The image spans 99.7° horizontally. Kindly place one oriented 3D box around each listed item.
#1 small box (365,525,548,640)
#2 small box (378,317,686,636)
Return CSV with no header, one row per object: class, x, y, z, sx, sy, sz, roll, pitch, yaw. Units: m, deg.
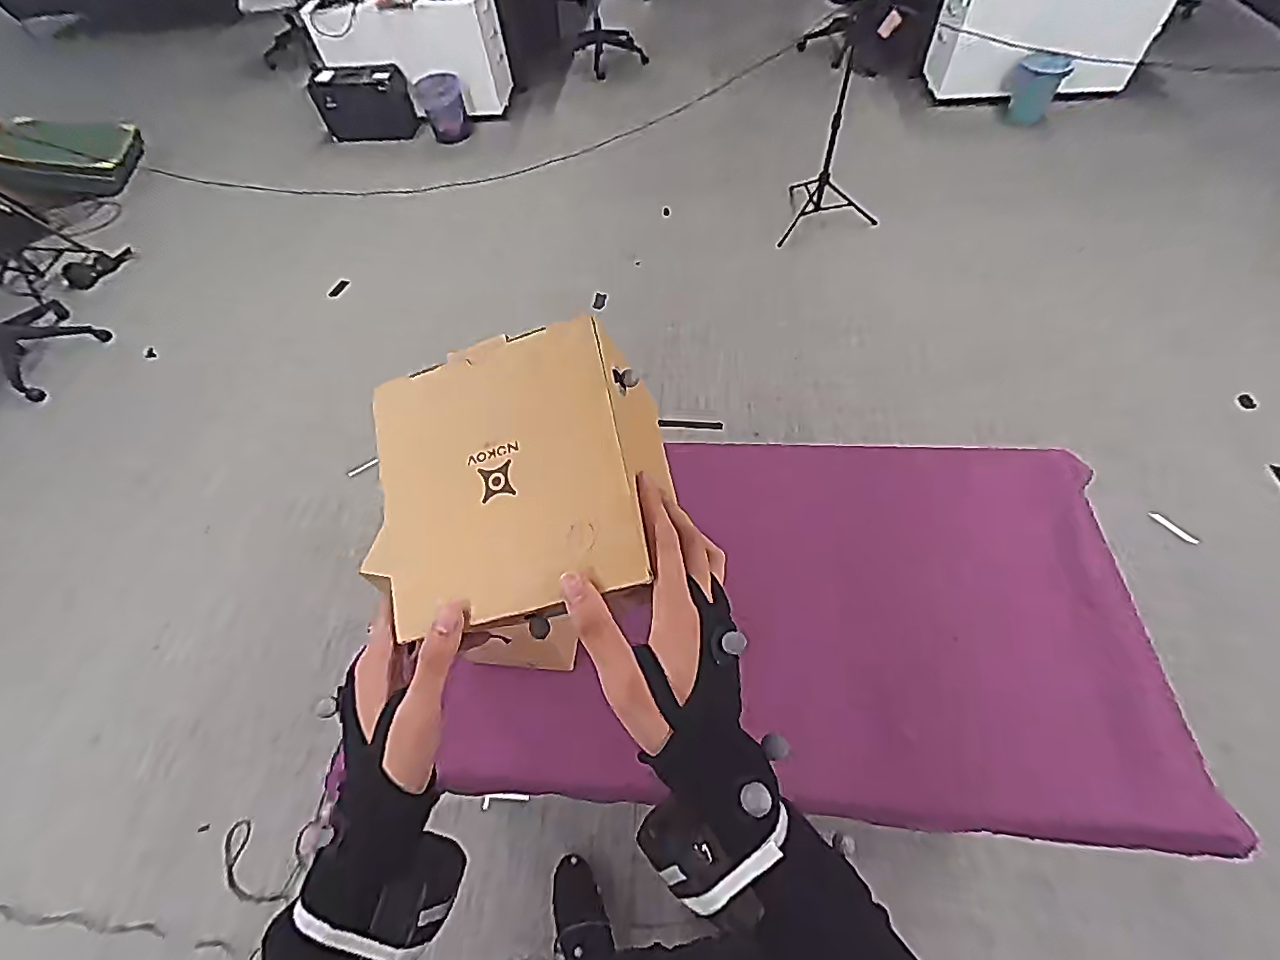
small box,-0.205,0.093,0.701,0.179,0.176,0.168,9,58,9
small box,-0.070,0.011,0.418,0.168,0.176,0.179,-15,75,10
